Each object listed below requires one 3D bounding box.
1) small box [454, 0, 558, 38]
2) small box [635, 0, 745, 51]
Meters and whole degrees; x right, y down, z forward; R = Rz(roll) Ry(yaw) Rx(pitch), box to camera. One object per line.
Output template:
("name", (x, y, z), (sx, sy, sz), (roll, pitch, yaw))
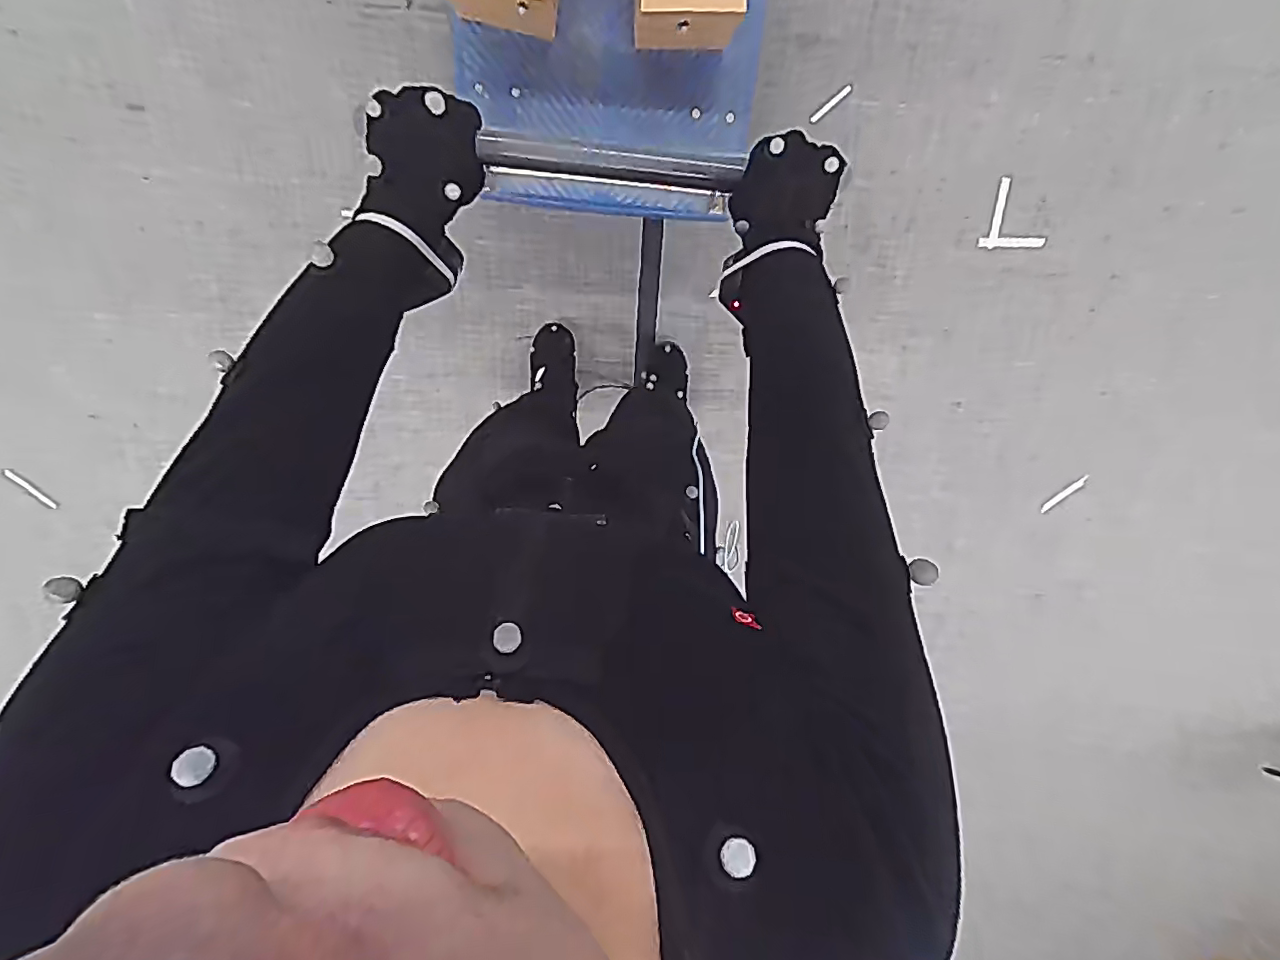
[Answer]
("small box", (-0.225, -0.876, 0.896), (0.179, 0.176, 0.168), (8, 111, -9))
("small box", (0.080, -0.863, 0.924), (0.179, 0.176, 0.168), (-2, 113, -3))
